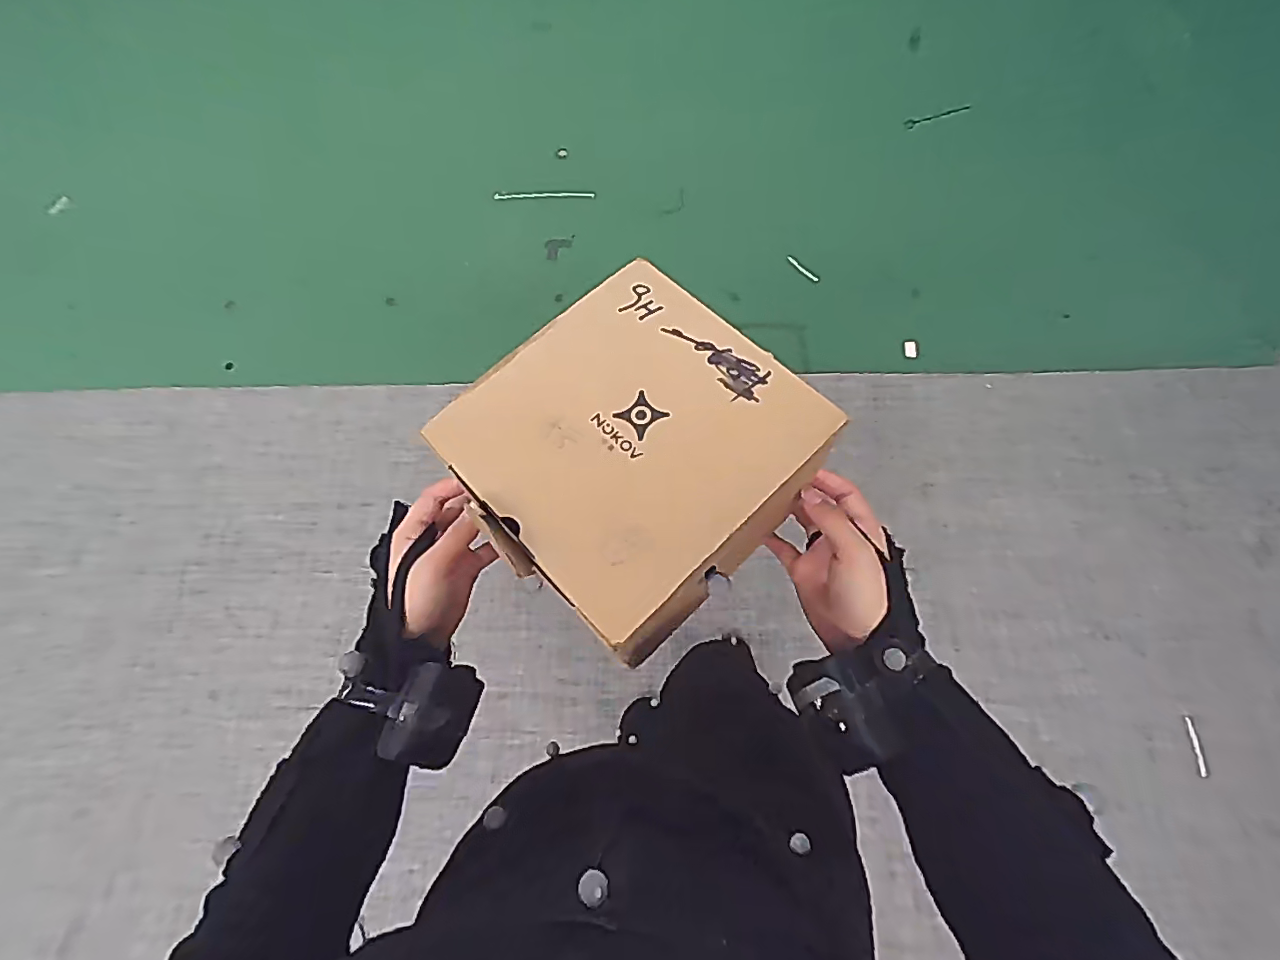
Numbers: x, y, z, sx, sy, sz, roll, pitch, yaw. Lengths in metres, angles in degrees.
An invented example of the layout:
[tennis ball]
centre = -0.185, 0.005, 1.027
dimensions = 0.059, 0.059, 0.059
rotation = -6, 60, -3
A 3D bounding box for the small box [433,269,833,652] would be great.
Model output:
[small box]
centre = 0.000, 0.001, 0.382
dimensions = 0.179, 0.176, 0.168
rotation = -42, 72, -12
